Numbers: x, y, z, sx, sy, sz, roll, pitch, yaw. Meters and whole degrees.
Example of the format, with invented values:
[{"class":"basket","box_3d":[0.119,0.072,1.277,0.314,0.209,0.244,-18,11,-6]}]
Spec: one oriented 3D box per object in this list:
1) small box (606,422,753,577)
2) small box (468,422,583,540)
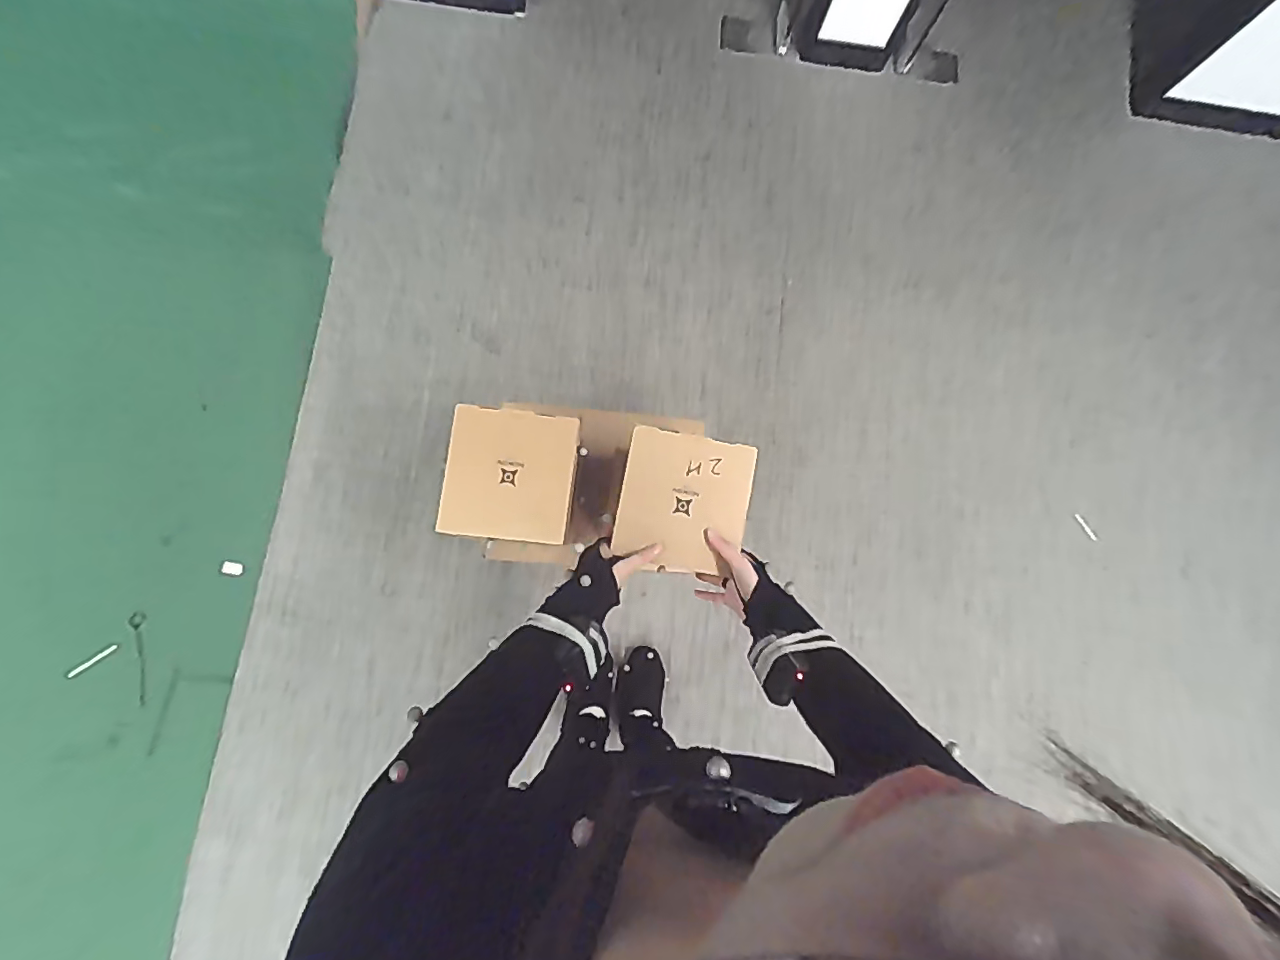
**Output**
[{"class":"small box","box_3d":[0.051,0.032,0.783,0.168,0.176,0.179,12,84,-1]},{"class":"small box","box_3d":[-0.195,0.010,0.966,0.168,0.176,0.179,7,82,-4]}]
